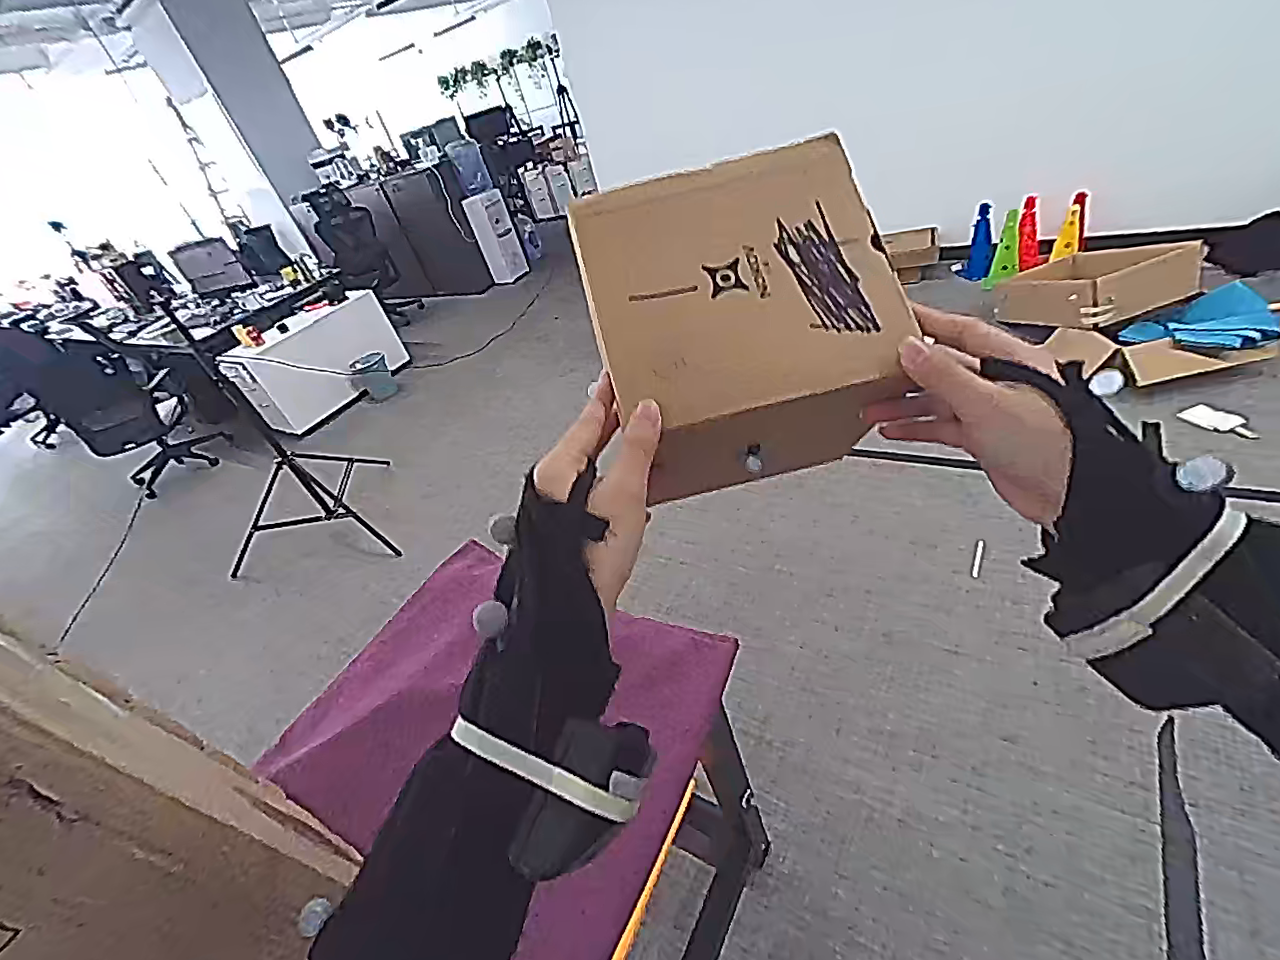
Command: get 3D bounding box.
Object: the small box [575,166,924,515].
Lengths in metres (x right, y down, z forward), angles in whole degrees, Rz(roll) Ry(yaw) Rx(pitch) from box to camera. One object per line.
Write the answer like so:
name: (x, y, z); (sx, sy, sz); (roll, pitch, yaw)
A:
small box: (0.063, -0.084, 0.400); (0.179, 0.176, 0.168); (-14, 73, -1)
